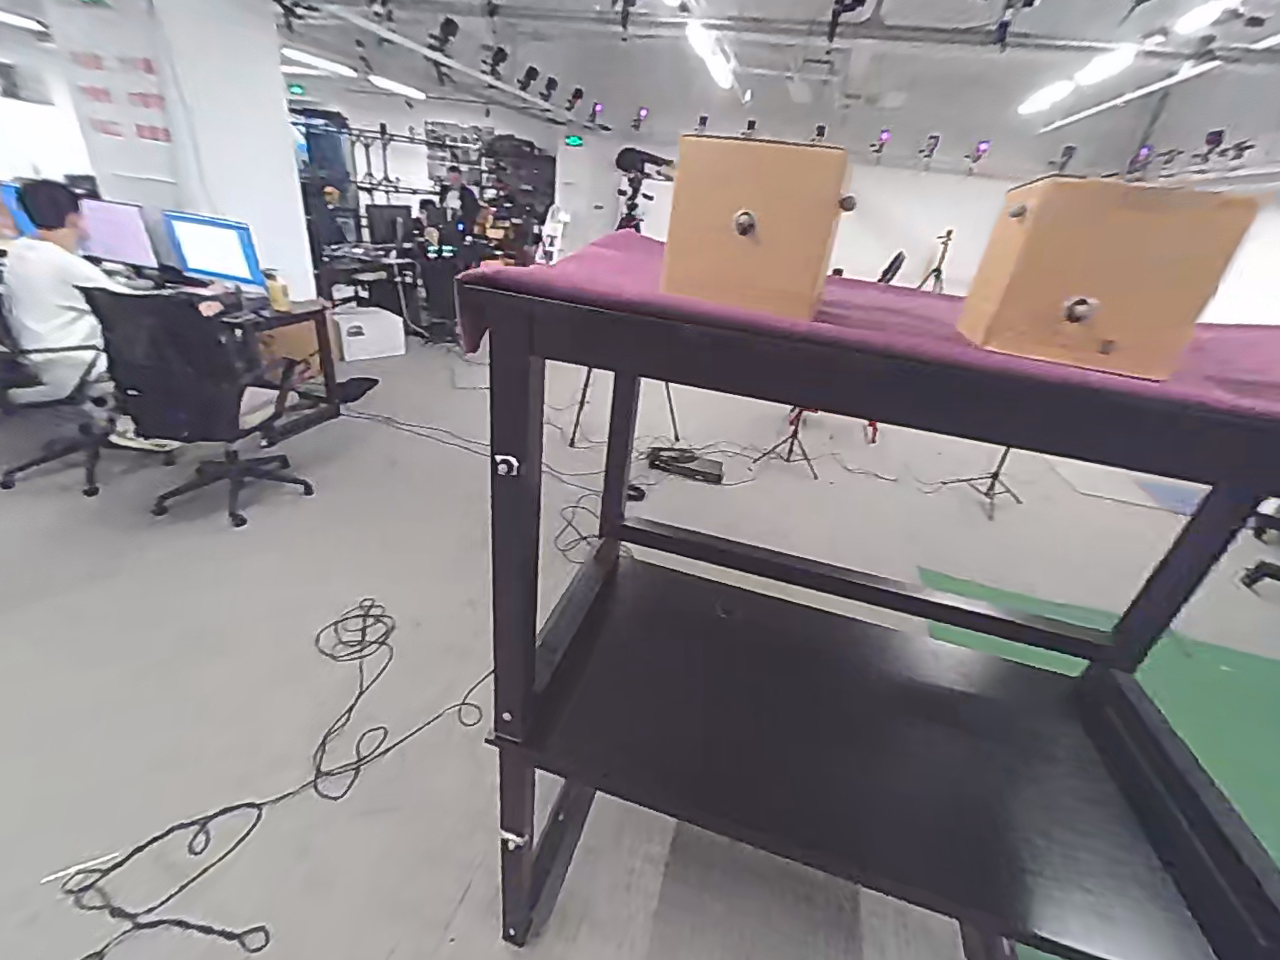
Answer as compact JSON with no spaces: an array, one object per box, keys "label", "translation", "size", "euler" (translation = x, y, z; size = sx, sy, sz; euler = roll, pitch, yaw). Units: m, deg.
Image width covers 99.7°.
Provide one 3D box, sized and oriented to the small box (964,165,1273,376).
[{"label":"small box","translation":[0.473,-0.223,0.578],"size":[0.168,0.176,0.179],"euler":[15,27,16]}]
